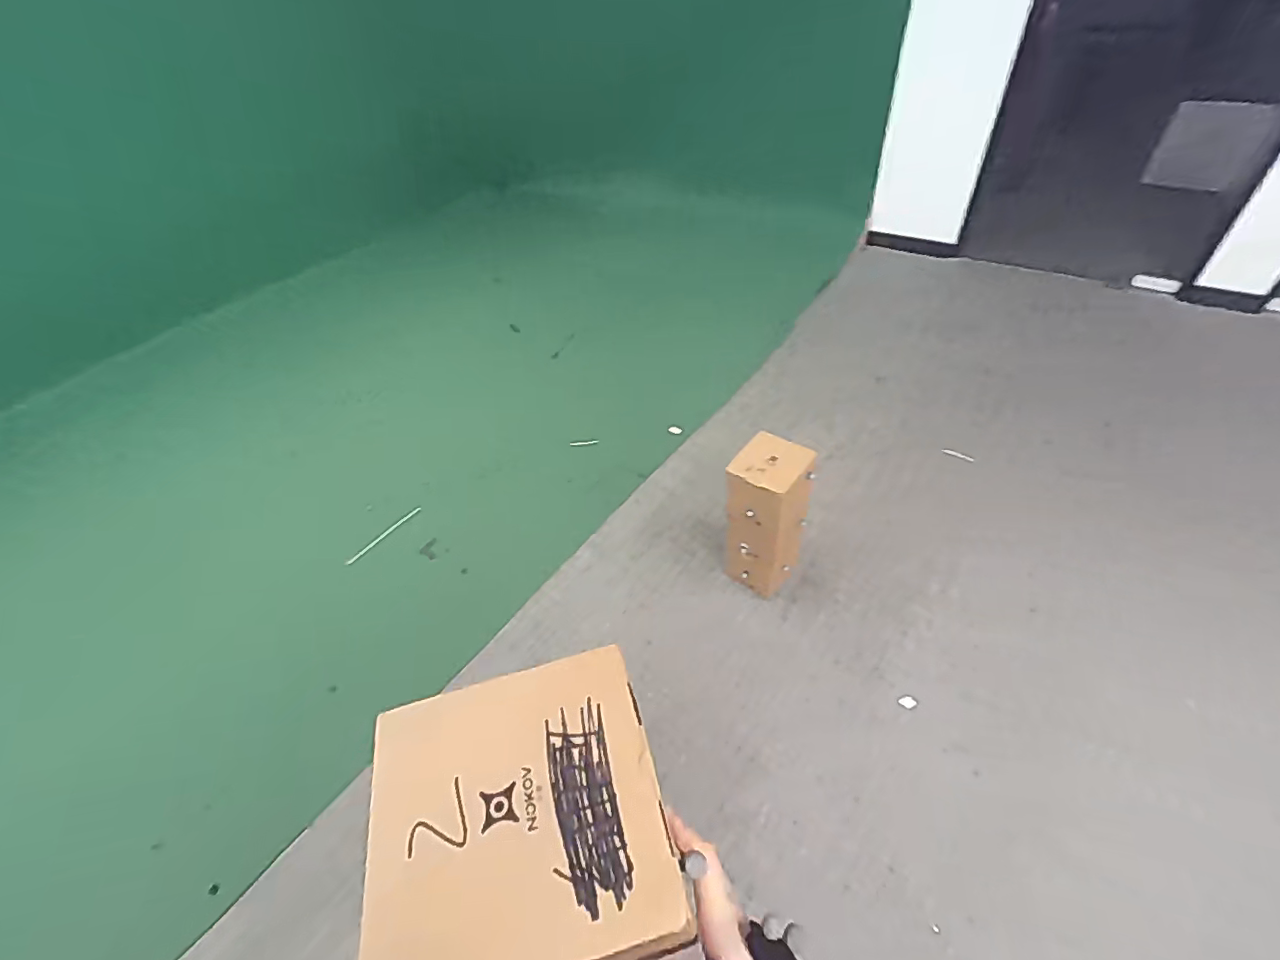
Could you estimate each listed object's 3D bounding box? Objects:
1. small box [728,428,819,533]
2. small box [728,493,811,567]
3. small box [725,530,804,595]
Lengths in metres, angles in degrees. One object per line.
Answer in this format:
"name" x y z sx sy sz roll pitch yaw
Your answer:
"small box" 0.341 0.002 1.403 0.168 0.176 0.179 27 57 31
"small box" 0.361 0.110 1.526 0.168 0.176 0.179 27 58 31
"small box" 0.380 0.218 1.647 0.168 0.176 0.179 31 60 32
